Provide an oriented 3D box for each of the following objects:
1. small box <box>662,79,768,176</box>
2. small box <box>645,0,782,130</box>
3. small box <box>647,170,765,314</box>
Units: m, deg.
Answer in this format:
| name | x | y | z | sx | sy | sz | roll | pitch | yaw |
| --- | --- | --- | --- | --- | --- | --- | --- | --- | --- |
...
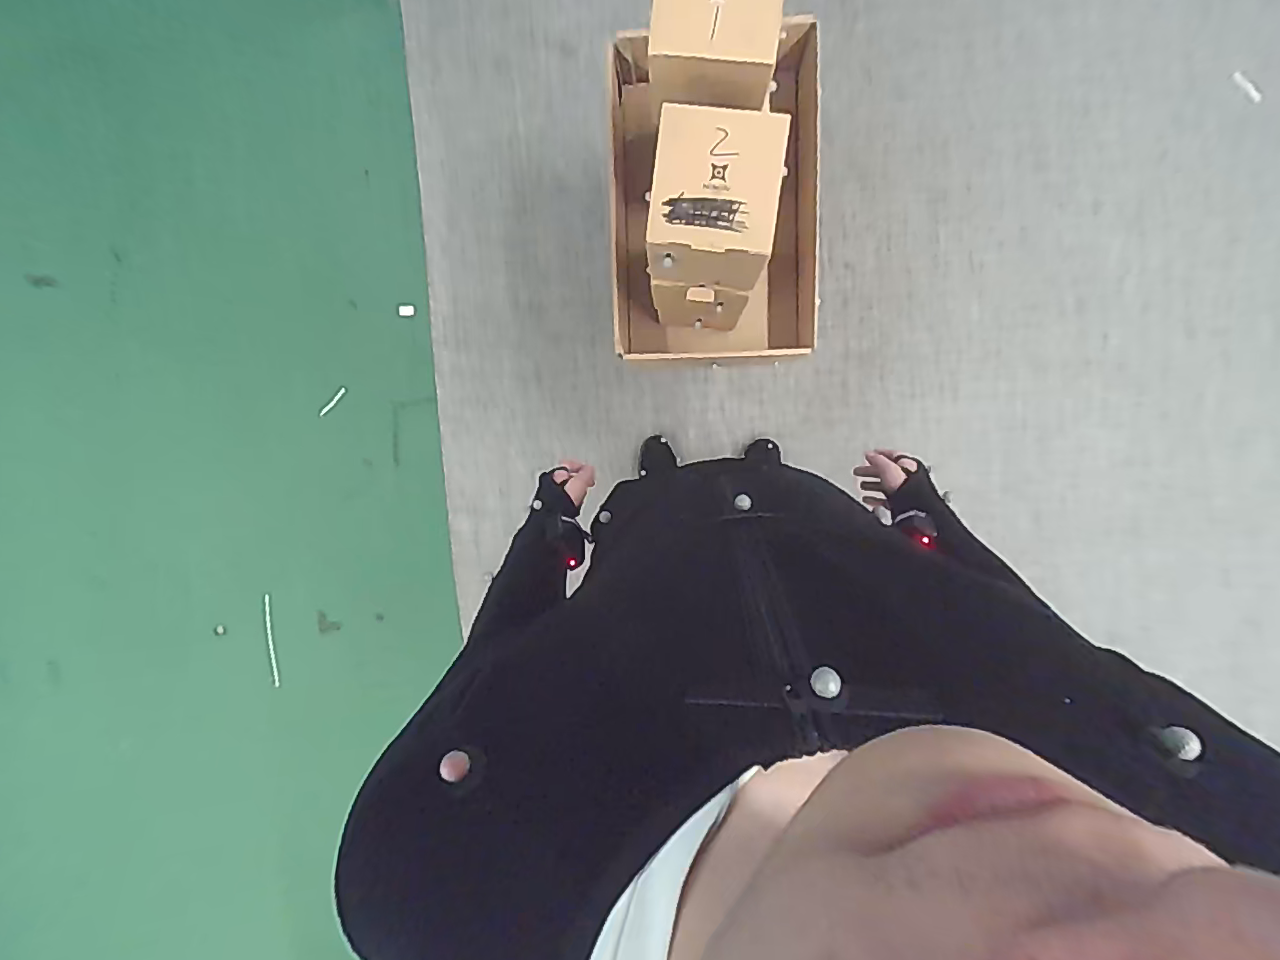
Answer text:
| name | x | y | z | sx | sy | sz | roll | pitch | yaw |
| --- | --- | --- | --- | --- | --- | --- | --- | --- | --- |
| small box | 0.119 | -0.641 | 0.913 | 0.168 | 0.176 | 0.179 | -2 | 97 | 4 |
| small box | 0.102 | -0.628 | 0.750 | 0.168 | 0.176 | 0.179 | 8 | 98 | 3 |
| small box | 0.110 | -0.396 | 0.930 | 0.168 | 0.176 | 0.179 | 8 | 94 | 3 |
